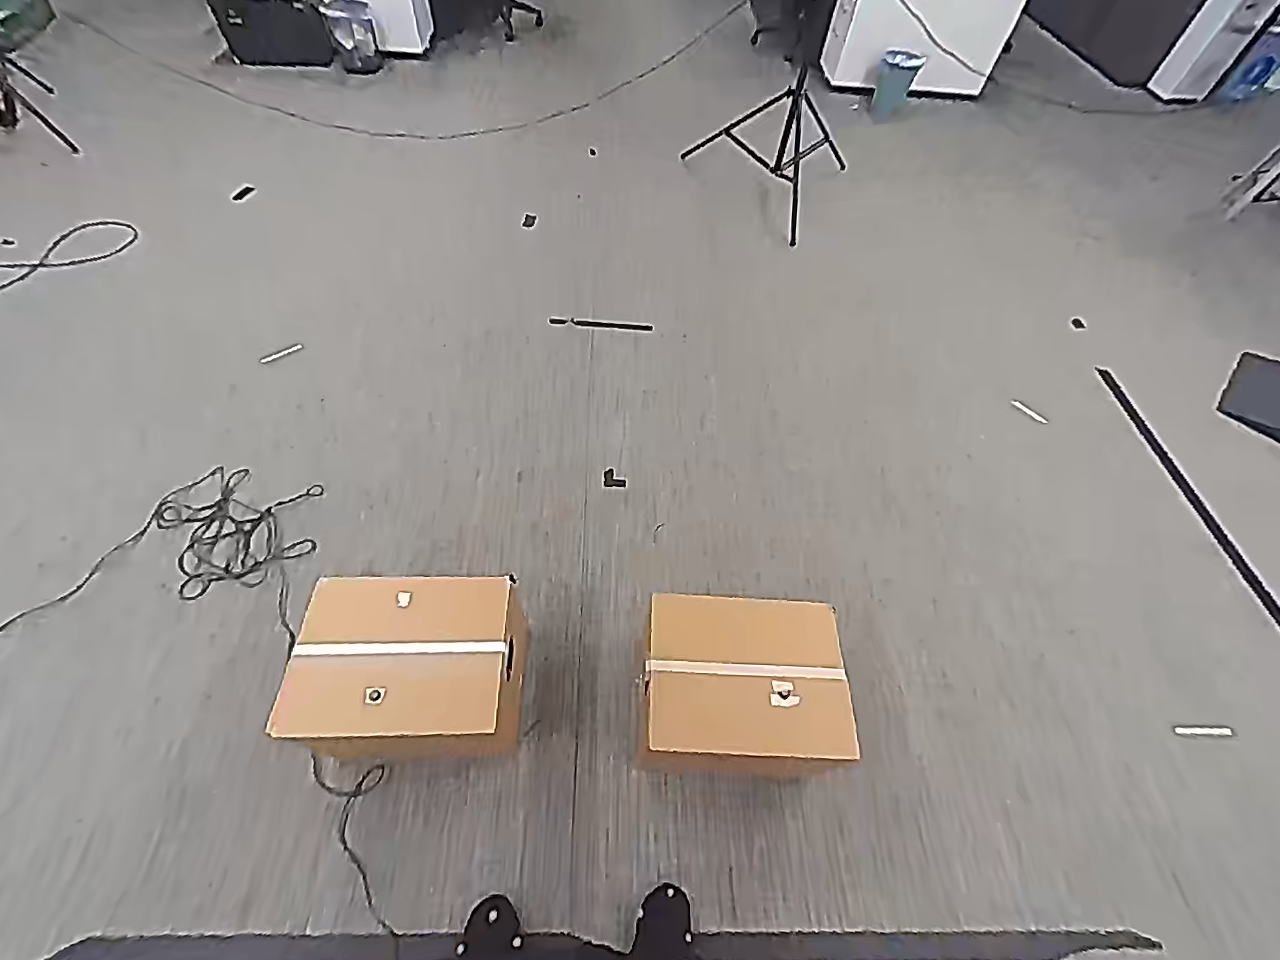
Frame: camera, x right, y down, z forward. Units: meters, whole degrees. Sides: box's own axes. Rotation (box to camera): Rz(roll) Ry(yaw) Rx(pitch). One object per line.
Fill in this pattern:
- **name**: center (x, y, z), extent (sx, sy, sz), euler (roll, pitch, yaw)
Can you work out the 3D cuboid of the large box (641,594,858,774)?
- **large box**: center (0.212, 0.472, 1.229), extent (0.408, 0.320, 0.320), euler (4, 55, -3)
